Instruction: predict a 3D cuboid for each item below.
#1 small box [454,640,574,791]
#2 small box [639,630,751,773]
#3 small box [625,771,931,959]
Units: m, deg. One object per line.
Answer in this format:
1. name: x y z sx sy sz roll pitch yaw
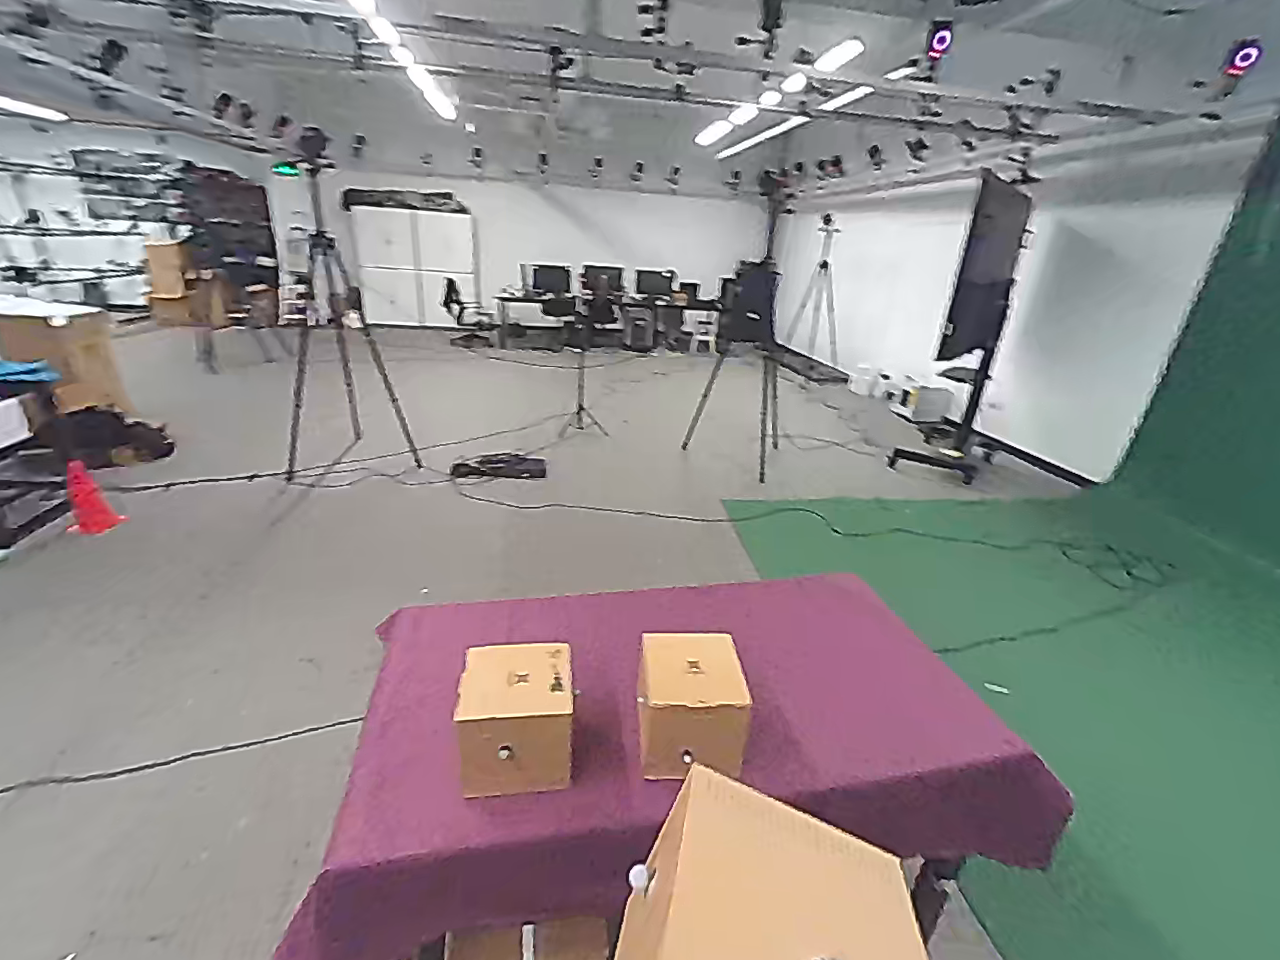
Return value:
1. small box: -0.204 0.398 0.917 0.179 0.176 0.168 -2 25 -9
2. small box: 0.088 0.393 0.971 0.168 0.176 0.179 1 25 -5
3. small box: 0.089 0.350 0.380 0.179 0.168 0.176 23 15 8
